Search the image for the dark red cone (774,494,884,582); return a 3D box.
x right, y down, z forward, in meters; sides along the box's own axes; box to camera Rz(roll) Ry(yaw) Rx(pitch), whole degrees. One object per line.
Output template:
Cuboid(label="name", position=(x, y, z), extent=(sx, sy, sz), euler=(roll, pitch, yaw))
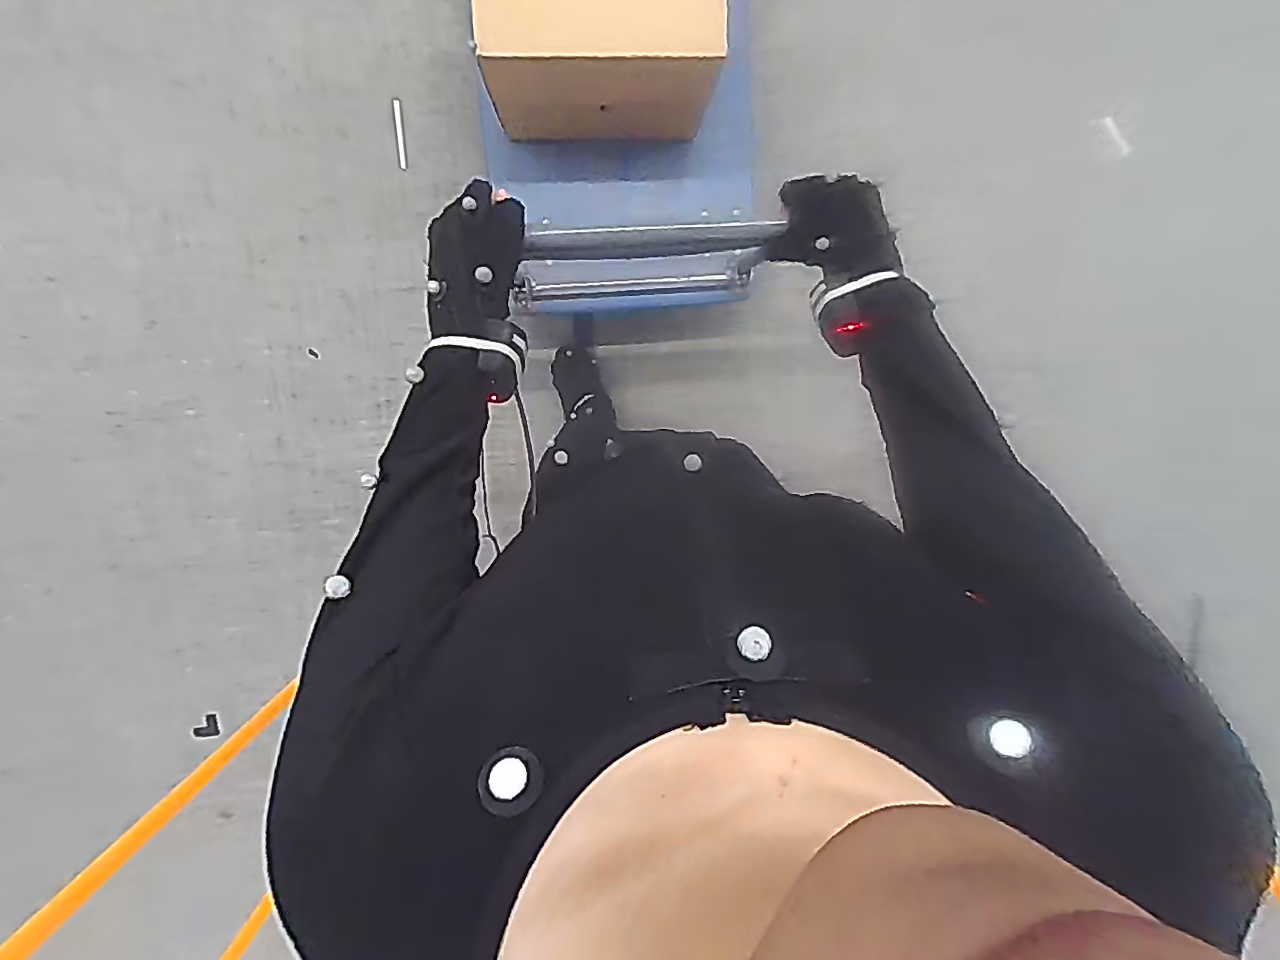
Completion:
Cuboid(label="dark red cone", position=(0.483, 0.169, 1.336), extent=(0.201, 0.394, 0.202), euler=(-4, 101, -4))

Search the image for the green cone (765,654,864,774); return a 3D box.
Cuboid(label="green cone", position=(0.487, 0.643, 1.439), extent=(0.202, 0.368, 0.200), euler=(0, 100, -4))

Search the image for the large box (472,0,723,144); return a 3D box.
Cuboid(label="large box", position=(-0.076, -0.850, 0.994), extent=(0.408, 0.320, 0.320), euler=(-3, 100, -2))
